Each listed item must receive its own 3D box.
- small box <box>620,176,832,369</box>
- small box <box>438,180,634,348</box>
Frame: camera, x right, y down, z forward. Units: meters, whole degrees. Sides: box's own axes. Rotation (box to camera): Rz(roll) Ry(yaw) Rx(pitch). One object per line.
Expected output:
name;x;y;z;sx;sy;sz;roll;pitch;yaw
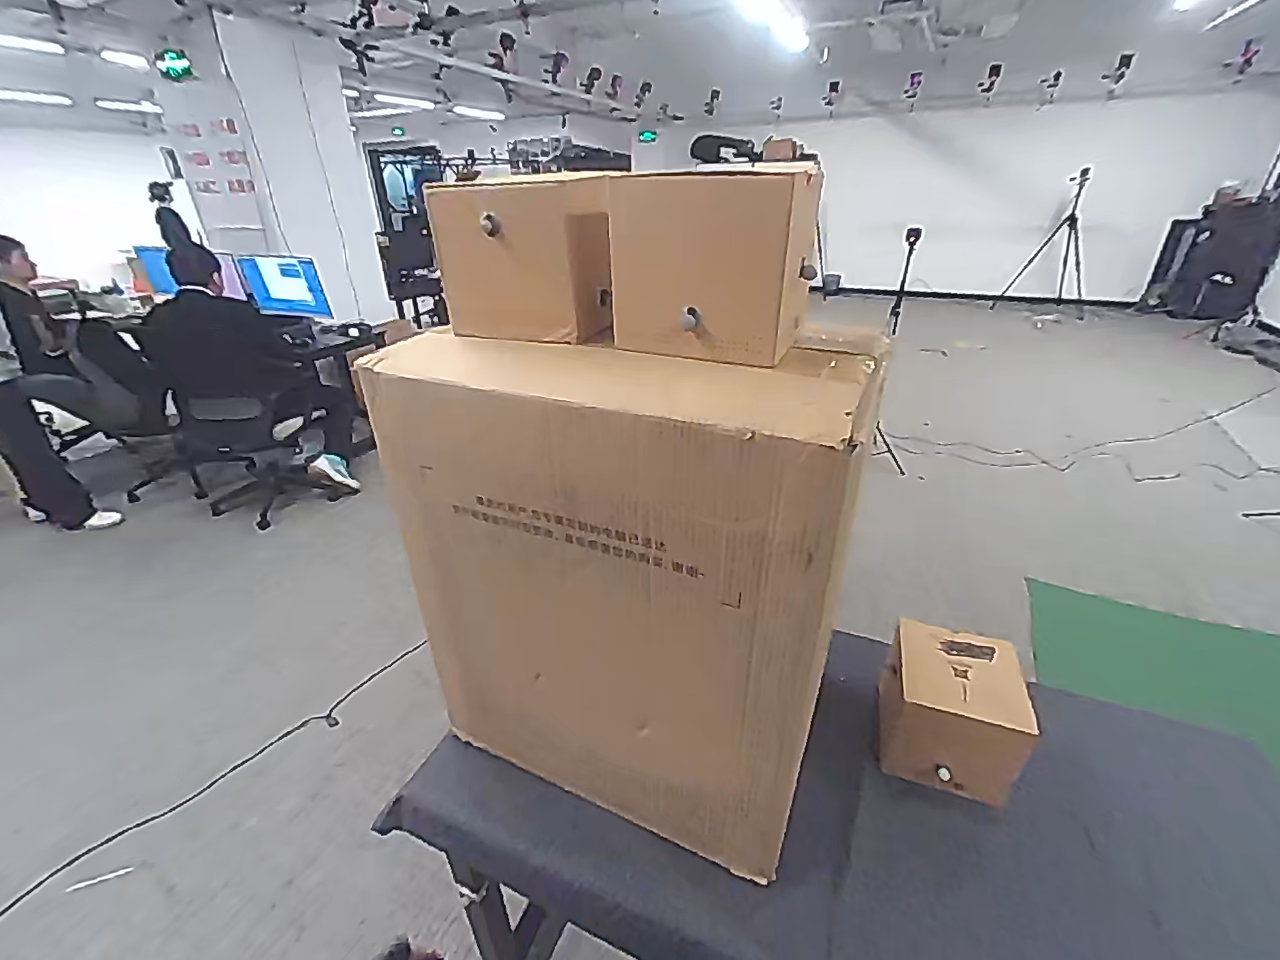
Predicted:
small box;0.093;-0.227;0.583;0.179;0.176;0.168;12;32;21
small box;-0.111;-0.268;0.665;0.179;0.176;0.168;10;33;19
